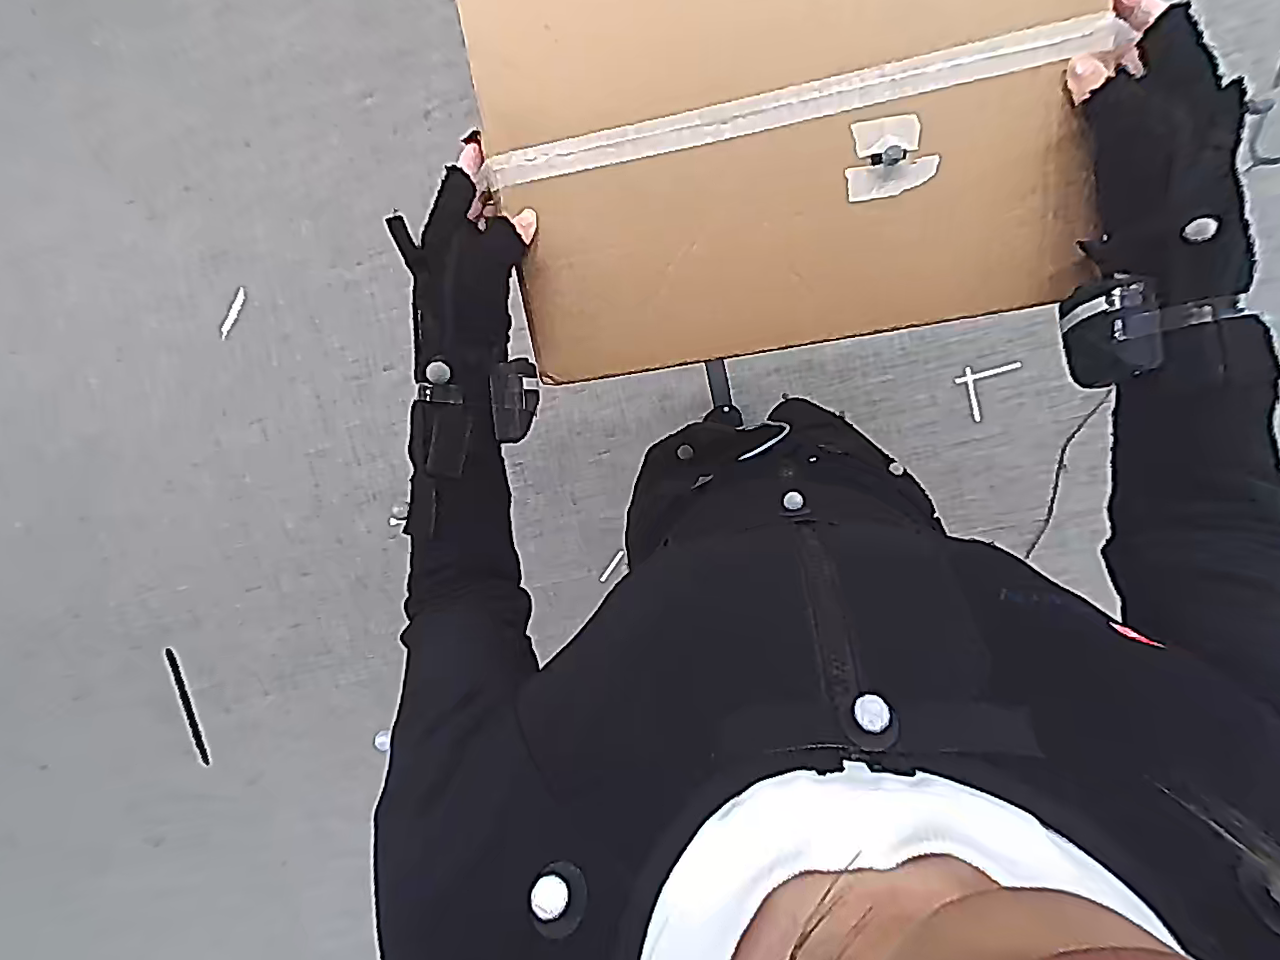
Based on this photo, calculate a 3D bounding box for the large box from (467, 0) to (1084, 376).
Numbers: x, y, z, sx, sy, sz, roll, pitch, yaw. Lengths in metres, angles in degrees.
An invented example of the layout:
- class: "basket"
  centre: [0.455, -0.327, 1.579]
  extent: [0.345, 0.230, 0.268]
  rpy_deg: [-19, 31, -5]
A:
- class: "large box"
  centre: [0.105, -0.299, 0.521]
  extent: [0.408, 0.320, 0.320]
  rpy_deg: [-8, 106, 8]
